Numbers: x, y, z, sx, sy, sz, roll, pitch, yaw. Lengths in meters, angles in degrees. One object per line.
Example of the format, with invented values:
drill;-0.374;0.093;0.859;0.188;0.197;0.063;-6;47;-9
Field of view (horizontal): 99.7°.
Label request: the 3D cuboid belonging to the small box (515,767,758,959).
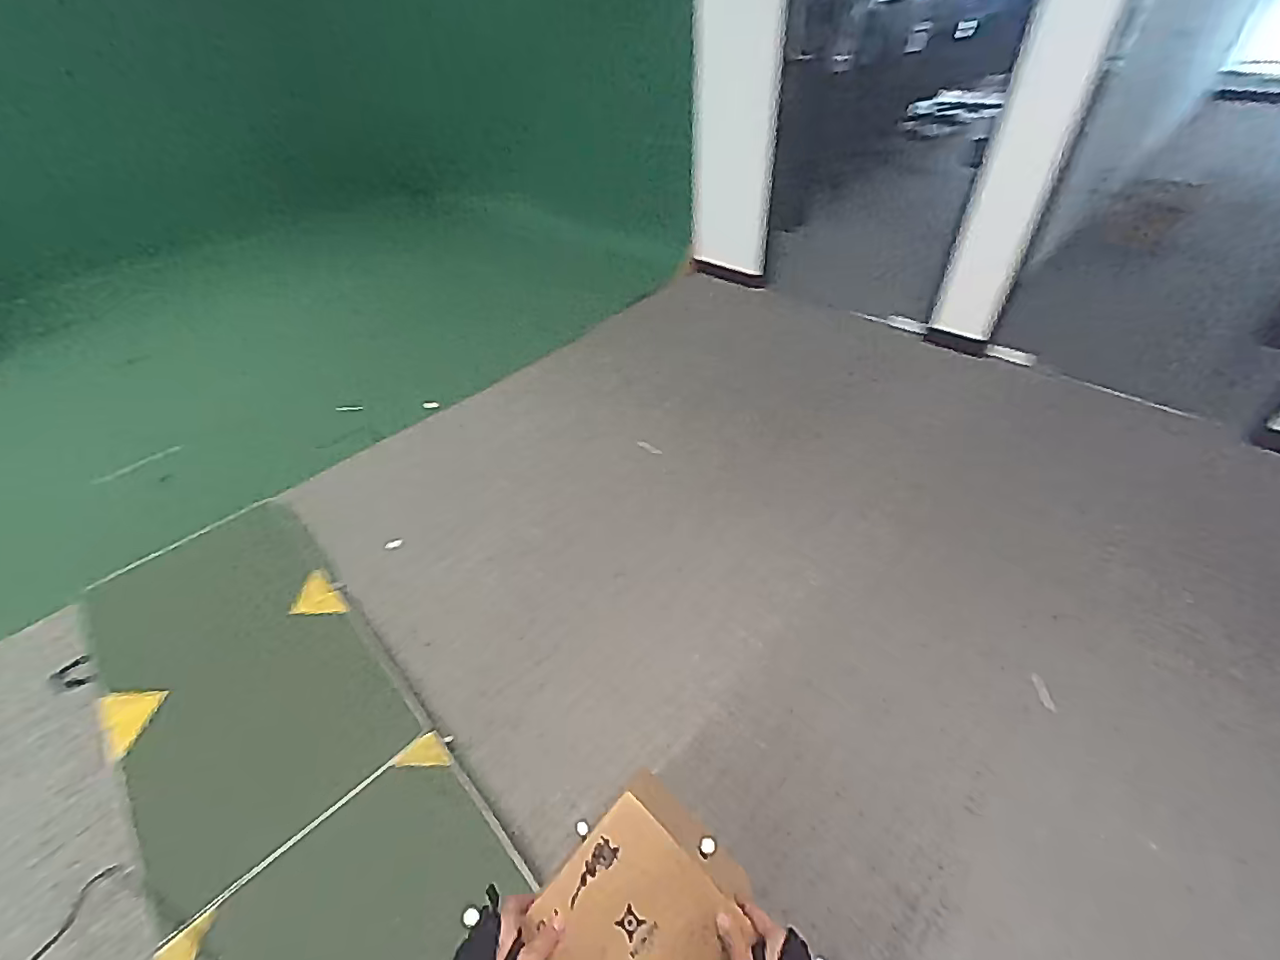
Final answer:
small box;0.001;0.446;0.588;0.179;0.176;0.168;39;77;16
